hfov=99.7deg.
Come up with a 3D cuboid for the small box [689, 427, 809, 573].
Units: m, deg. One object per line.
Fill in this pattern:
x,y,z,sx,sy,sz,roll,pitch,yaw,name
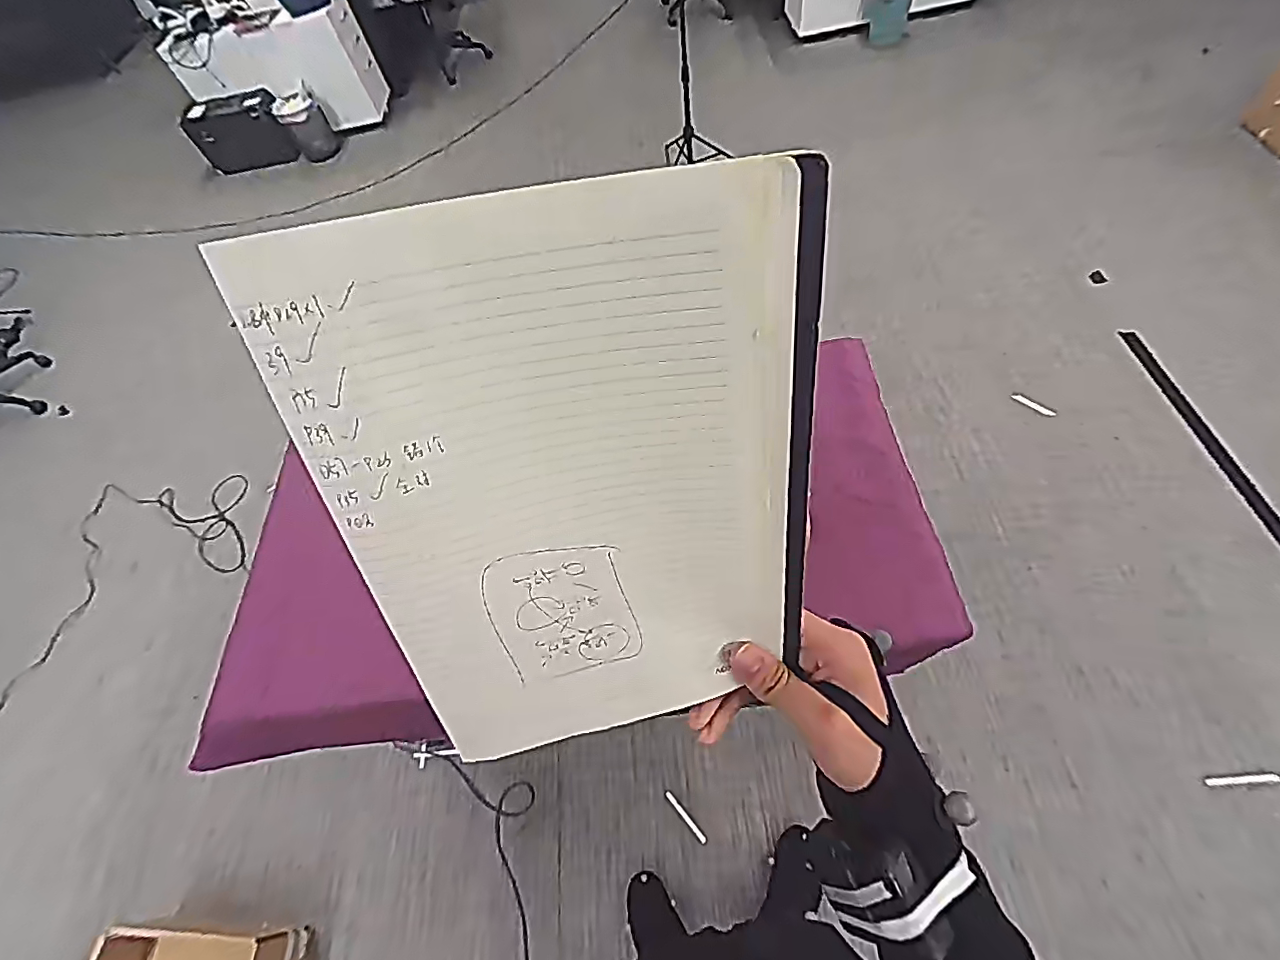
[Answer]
0.164,0.039,0.847,0.168,0.176,0.179,-3,58,8,small box
